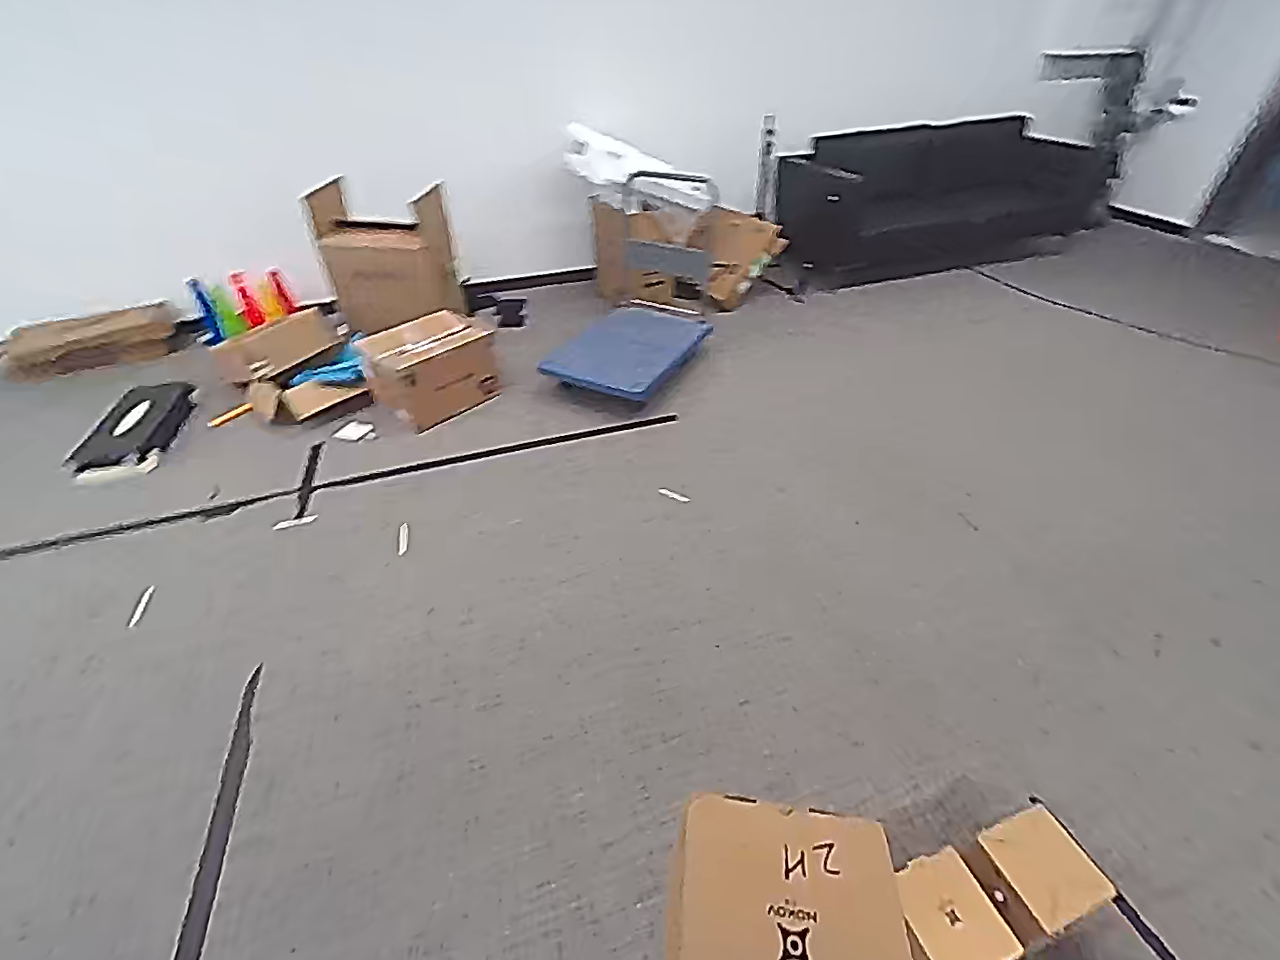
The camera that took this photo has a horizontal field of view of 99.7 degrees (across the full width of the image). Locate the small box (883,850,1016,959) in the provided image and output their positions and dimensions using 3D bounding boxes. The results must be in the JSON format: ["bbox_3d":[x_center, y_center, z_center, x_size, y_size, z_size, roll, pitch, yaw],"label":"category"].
[{"bbox_3d":[0.561,0.862,1.042,0.168,0.176,0.179,-13,41,-14],"label":"small box"}]

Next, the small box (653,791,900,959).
[{"bbox_3d":[0.098,0.392,0.437,0.168,0.176,0.179,8,35,3],"label":"small box"}]
